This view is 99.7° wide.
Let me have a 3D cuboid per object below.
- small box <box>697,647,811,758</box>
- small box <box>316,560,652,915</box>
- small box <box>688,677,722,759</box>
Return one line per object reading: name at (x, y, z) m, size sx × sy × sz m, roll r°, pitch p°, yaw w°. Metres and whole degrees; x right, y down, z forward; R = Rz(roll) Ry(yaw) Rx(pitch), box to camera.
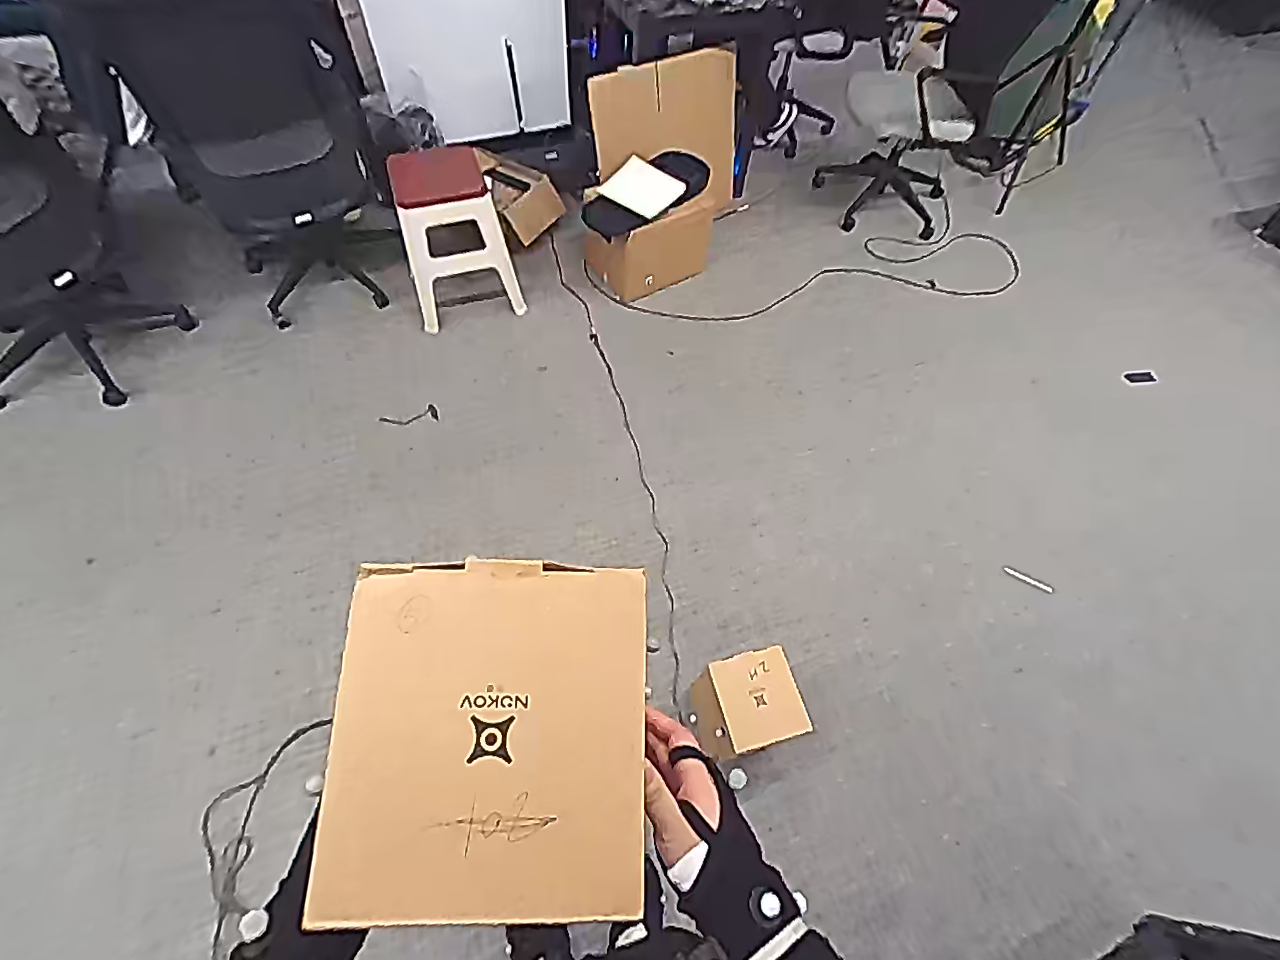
small box at (0.233, 0.481, 1.156) m, size 0.168 × 0.176 × 0.179 m, roll -11°, pitch 59°, yaw -12°
small box at (-0.082, 0.155, 0.370) m, size 0.168 × 0.176 × 0.179 m, roll 2°, pitch 74°, yaw -3°
small box at (0.226, 0.559, 1.301) m, size 0.179 × 0.176 × 0.168 m, roll -9°, pitch 58°, yaw -8°
